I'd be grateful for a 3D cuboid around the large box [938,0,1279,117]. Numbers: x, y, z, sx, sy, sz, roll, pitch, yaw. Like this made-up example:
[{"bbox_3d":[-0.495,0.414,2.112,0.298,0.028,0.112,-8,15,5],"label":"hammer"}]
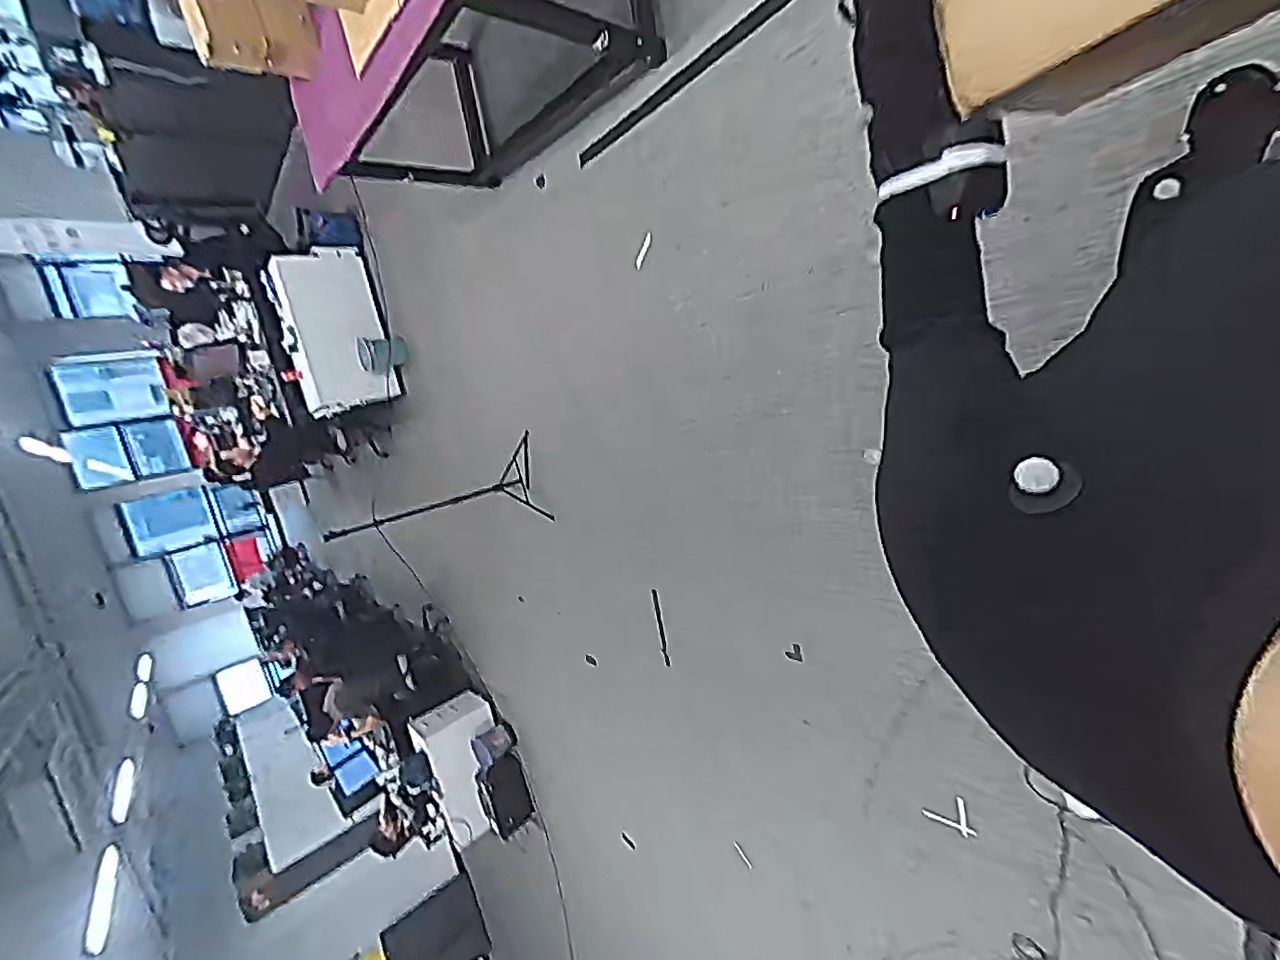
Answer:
[{"bbox_3d":[0.423,-0.500,0.330,0.408,0.320,0.320,-7,108,50],"label":"large box"}]
